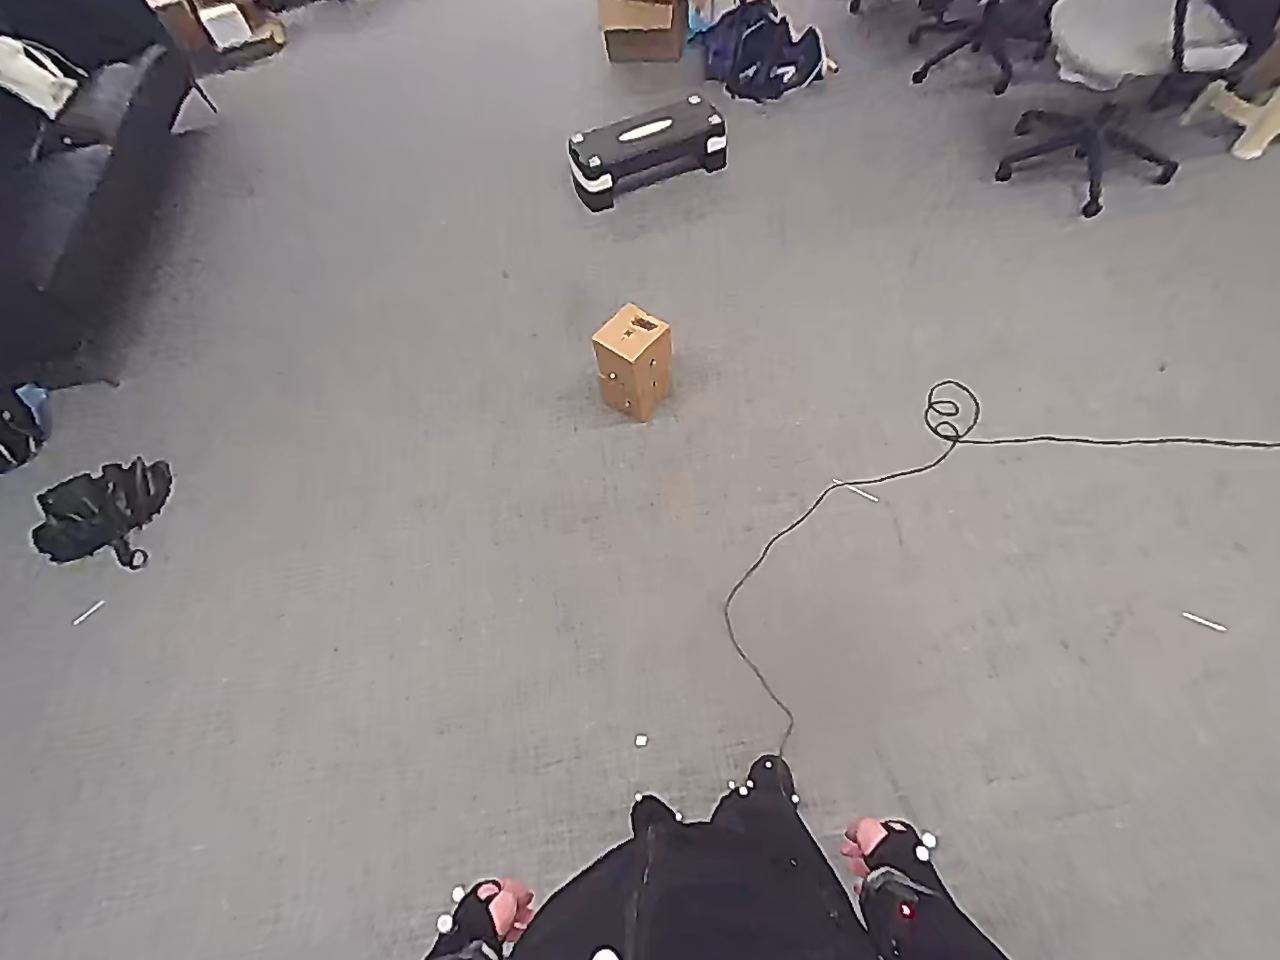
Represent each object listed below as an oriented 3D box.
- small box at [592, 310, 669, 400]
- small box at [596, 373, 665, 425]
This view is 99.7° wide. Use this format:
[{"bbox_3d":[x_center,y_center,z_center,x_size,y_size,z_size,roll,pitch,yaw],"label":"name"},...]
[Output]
[{"bbox_3d":[-0.024,-0.385,1.679,0.168,0.176,0.179,35,71,22],"label":"small box"},{"bbox_3d":[-0.023,-0.316,1.829,0.168,0.176,0.179,28,66,19],"label":"small box"}]
